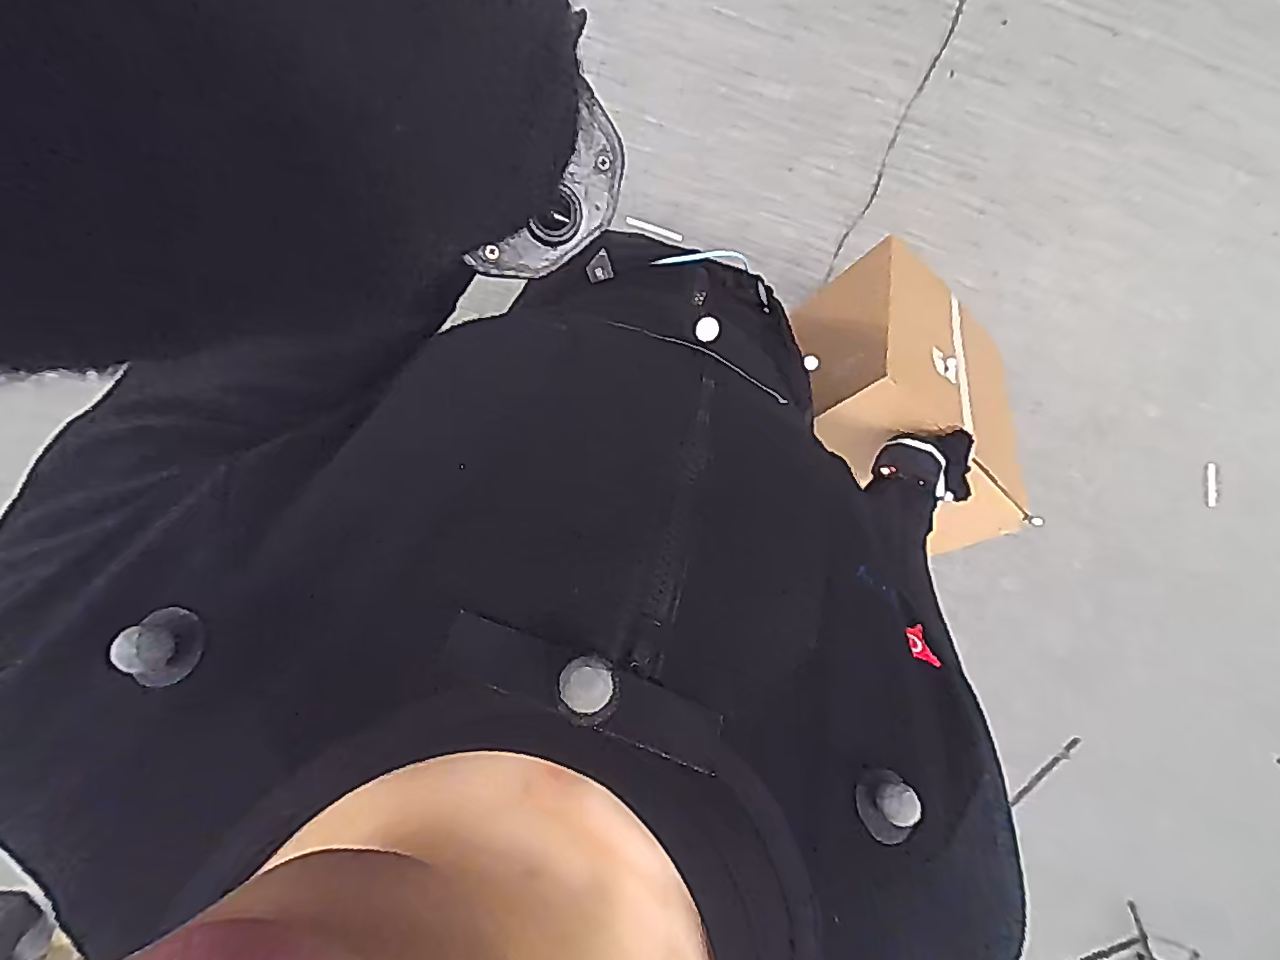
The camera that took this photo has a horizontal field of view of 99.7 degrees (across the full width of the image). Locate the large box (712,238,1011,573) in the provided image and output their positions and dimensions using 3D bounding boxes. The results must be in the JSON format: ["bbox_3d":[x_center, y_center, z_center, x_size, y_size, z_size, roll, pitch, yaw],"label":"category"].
[{"bbox_3d":[0.371,-0.114,0.921,0.320,0.408,0.320,38,141,-16],"label":"large box"}]
